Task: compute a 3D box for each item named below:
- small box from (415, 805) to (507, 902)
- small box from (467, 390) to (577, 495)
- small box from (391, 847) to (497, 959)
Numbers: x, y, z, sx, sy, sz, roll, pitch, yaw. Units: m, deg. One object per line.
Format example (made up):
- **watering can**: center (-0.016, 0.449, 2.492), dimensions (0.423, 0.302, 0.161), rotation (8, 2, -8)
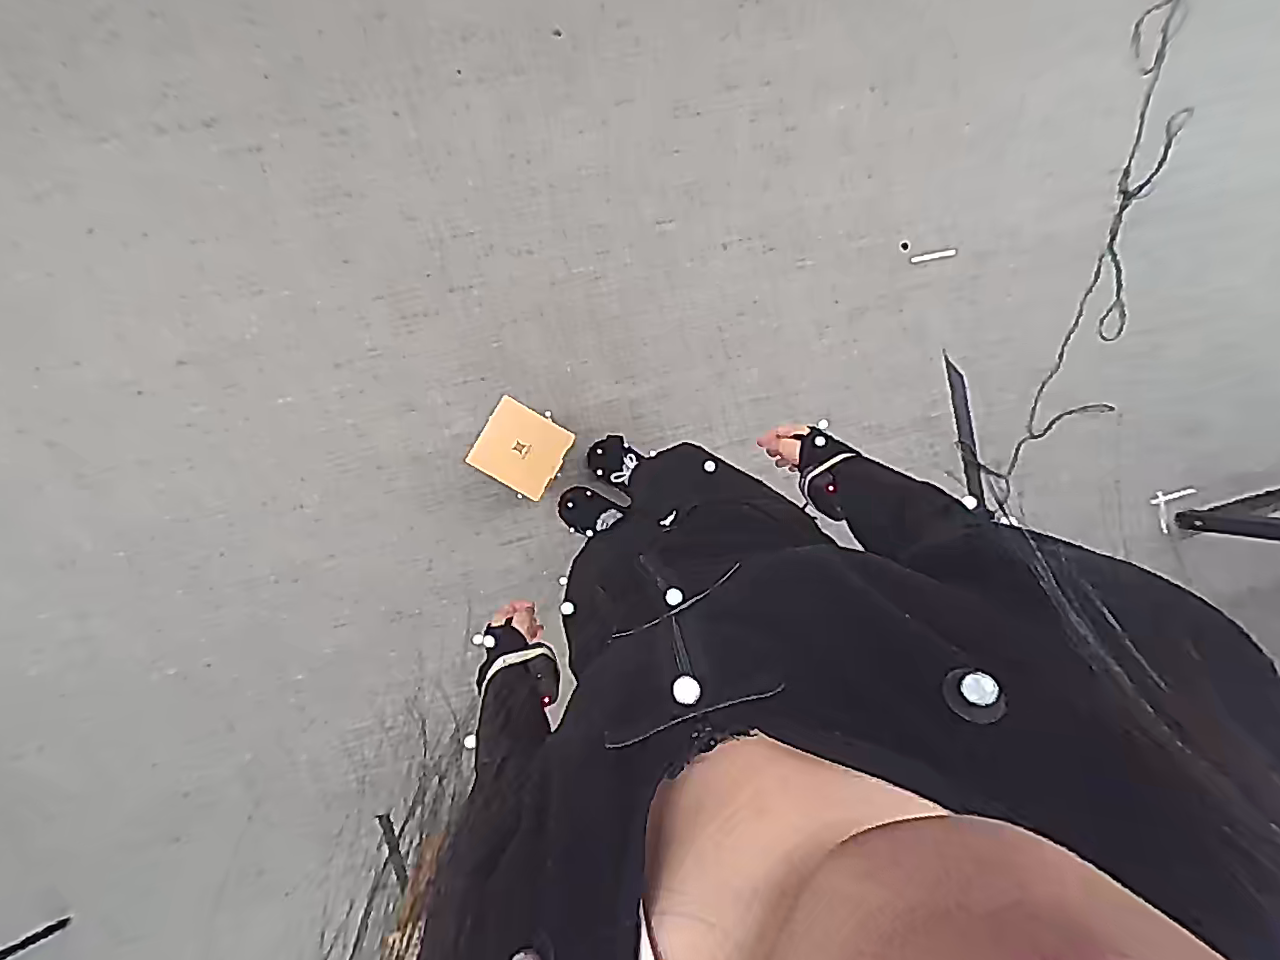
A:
- **small box**: center (-0.459, 1.000, 1.421), dimensions (0.179, 0.176, 0.168), rotation (-18, 94, -4)
- **small box**: center (-0.259, -0.081, 1.219), dimensions (0.179, 0.176, 0.168), rotation (30, 88, -8)
- **small box**: center (-0.442, 1.003, 1.257), dimensions (0.179, 0.176, 0.168), rotation (-17, 94, -5)
